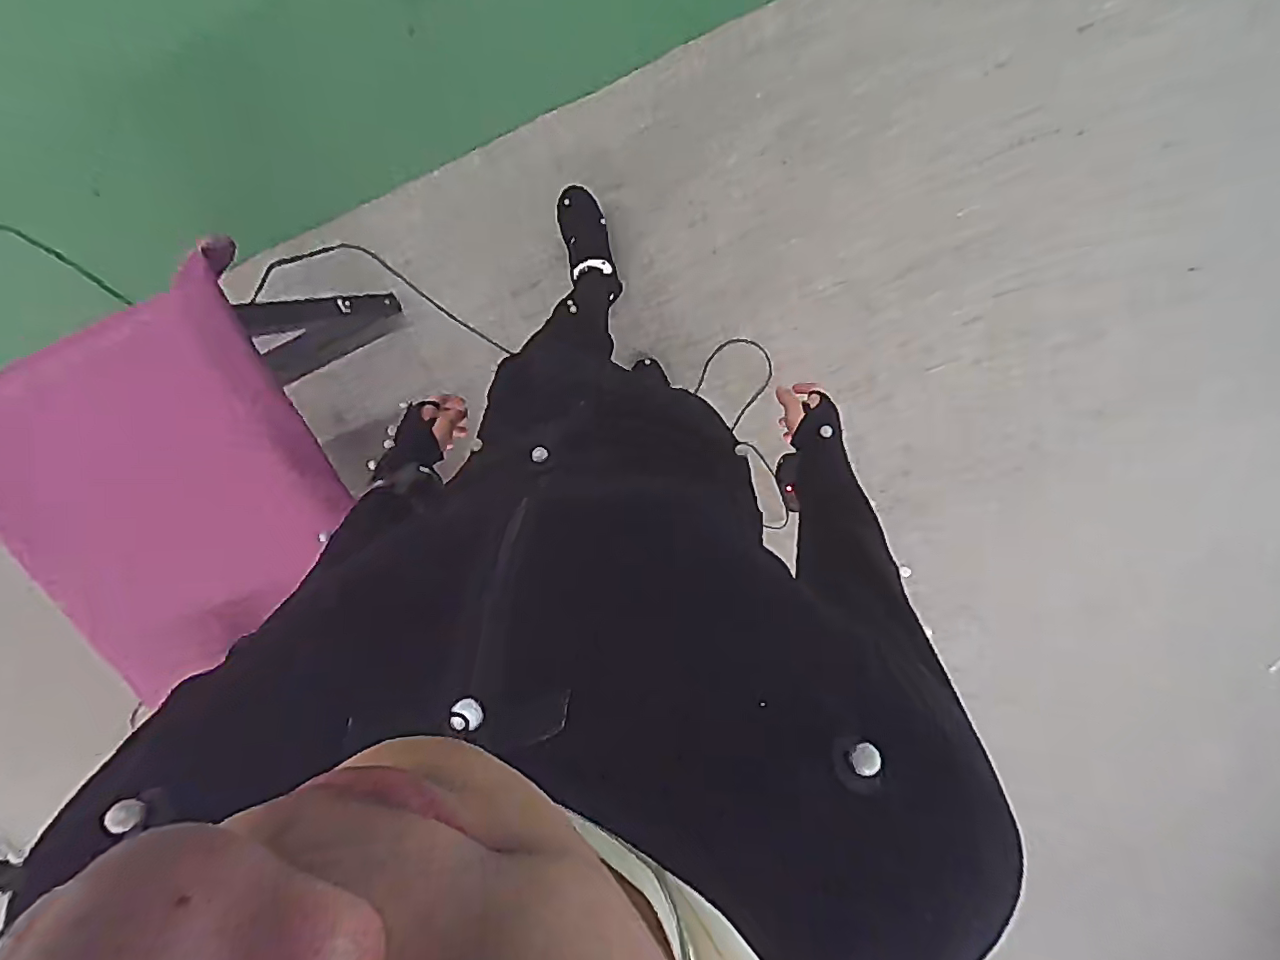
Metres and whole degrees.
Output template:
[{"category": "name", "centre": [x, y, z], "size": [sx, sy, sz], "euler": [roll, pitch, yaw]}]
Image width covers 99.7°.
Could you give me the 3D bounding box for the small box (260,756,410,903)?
[{"category": "small box", "centre": [-0.594, 0.693, 1.088], "size": [0.179, 0.176, 0.168], "euler": [-22, 107, 10]}]
